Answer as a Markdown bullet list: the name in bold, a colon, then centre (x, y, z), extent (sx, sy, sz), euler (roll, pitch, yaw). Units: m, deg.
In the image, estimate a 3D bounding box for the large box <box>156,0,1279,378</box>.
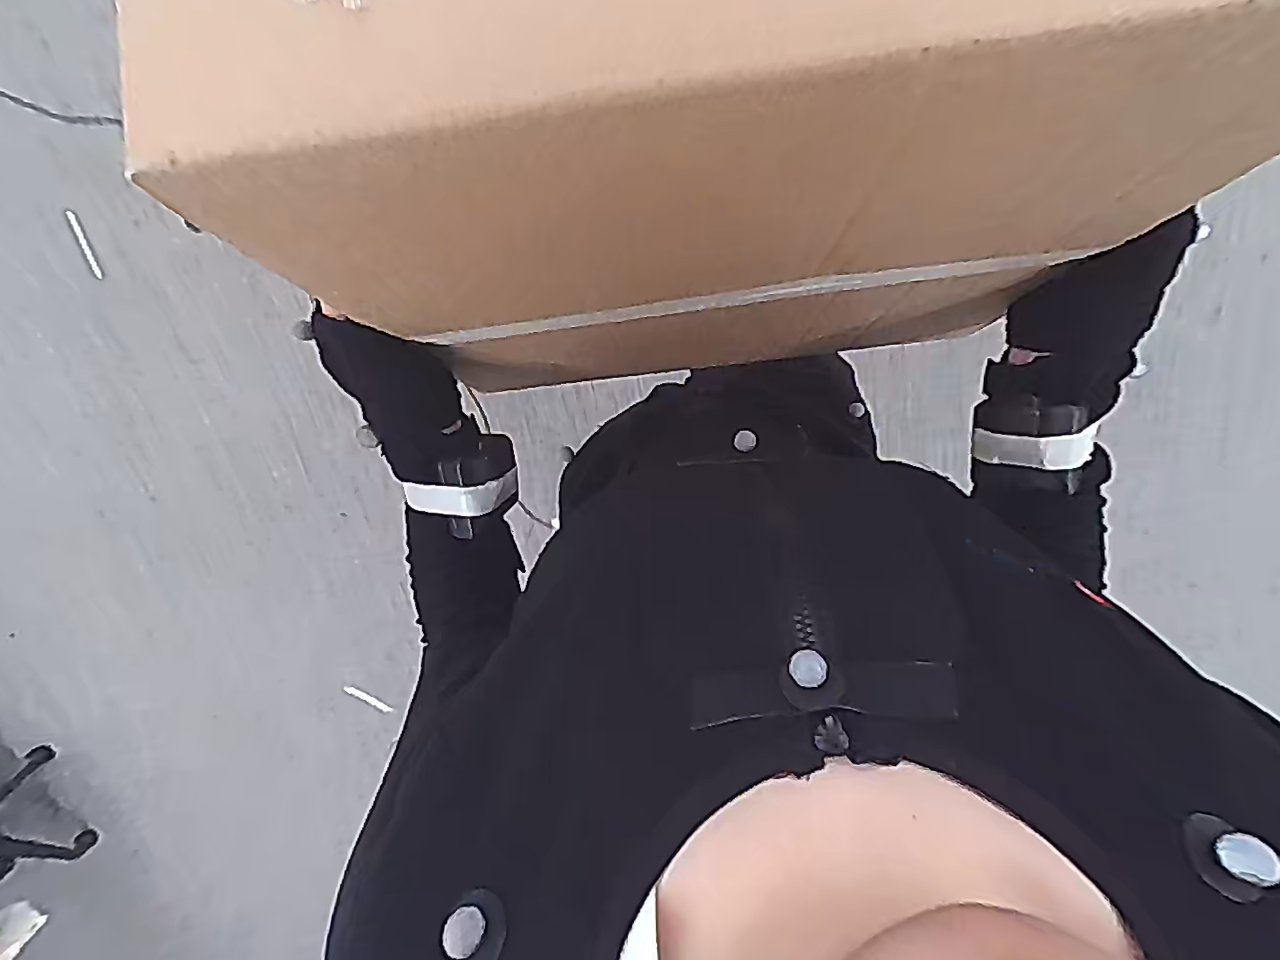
- **large box**: centre (0.038, -0.269, 0.314), extent (0.408, 0.320, 0.320), euler (-7, 87, 2)
